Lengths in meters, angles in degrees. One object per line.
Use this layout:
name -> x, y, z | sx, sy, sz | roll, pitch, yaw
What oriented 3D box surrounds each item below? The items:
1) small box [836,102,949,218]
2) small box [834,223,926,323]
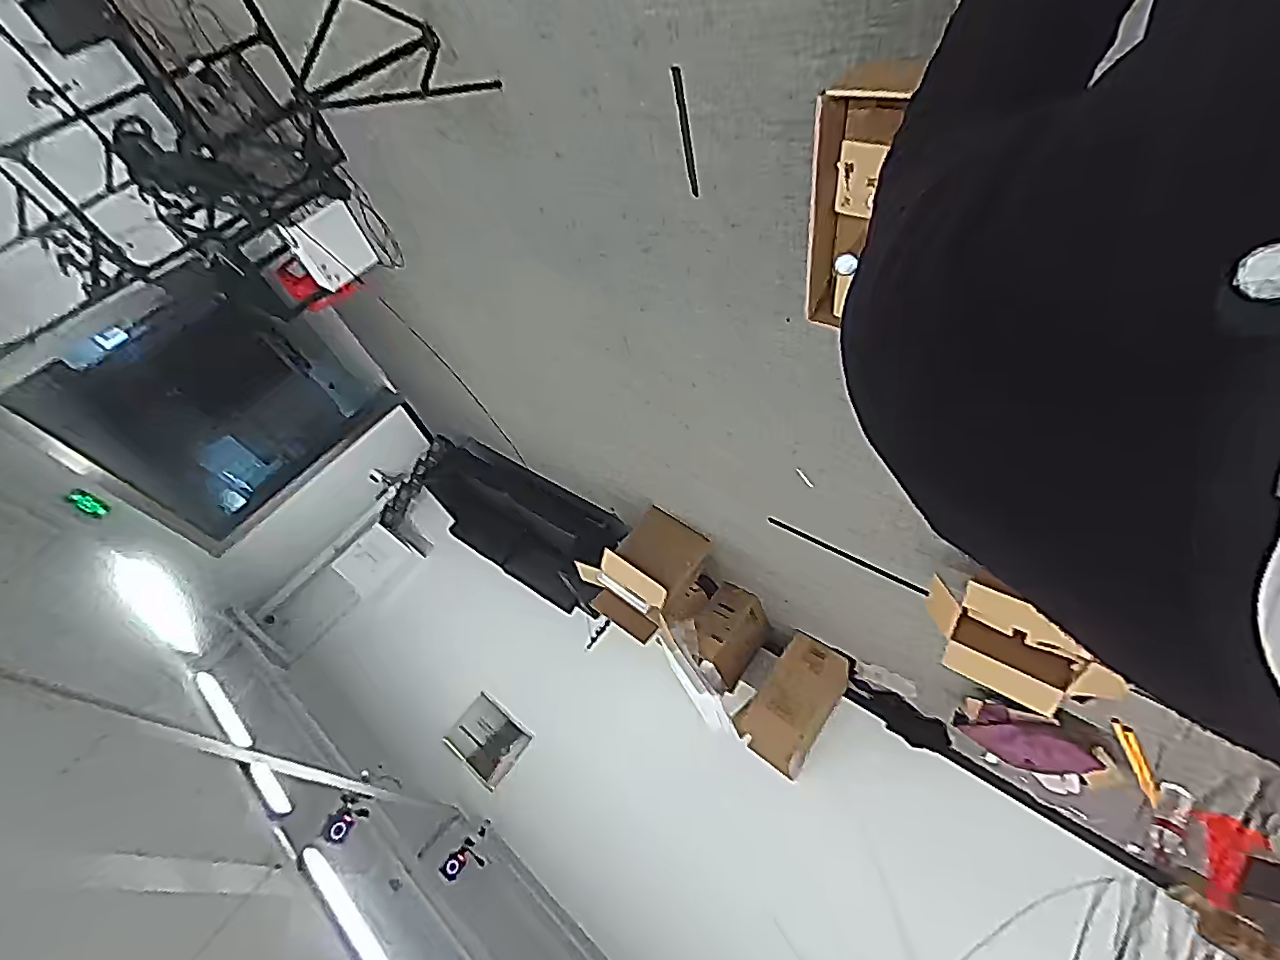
small box -> 0.576, -0.737, 1.239 | 0.179, 0.176, 0.168 | 26, 155, 27
small box -> 0.645, -0.559, 1.457 | 0.168, 0.176, 0.179 | 26, 152, 29
